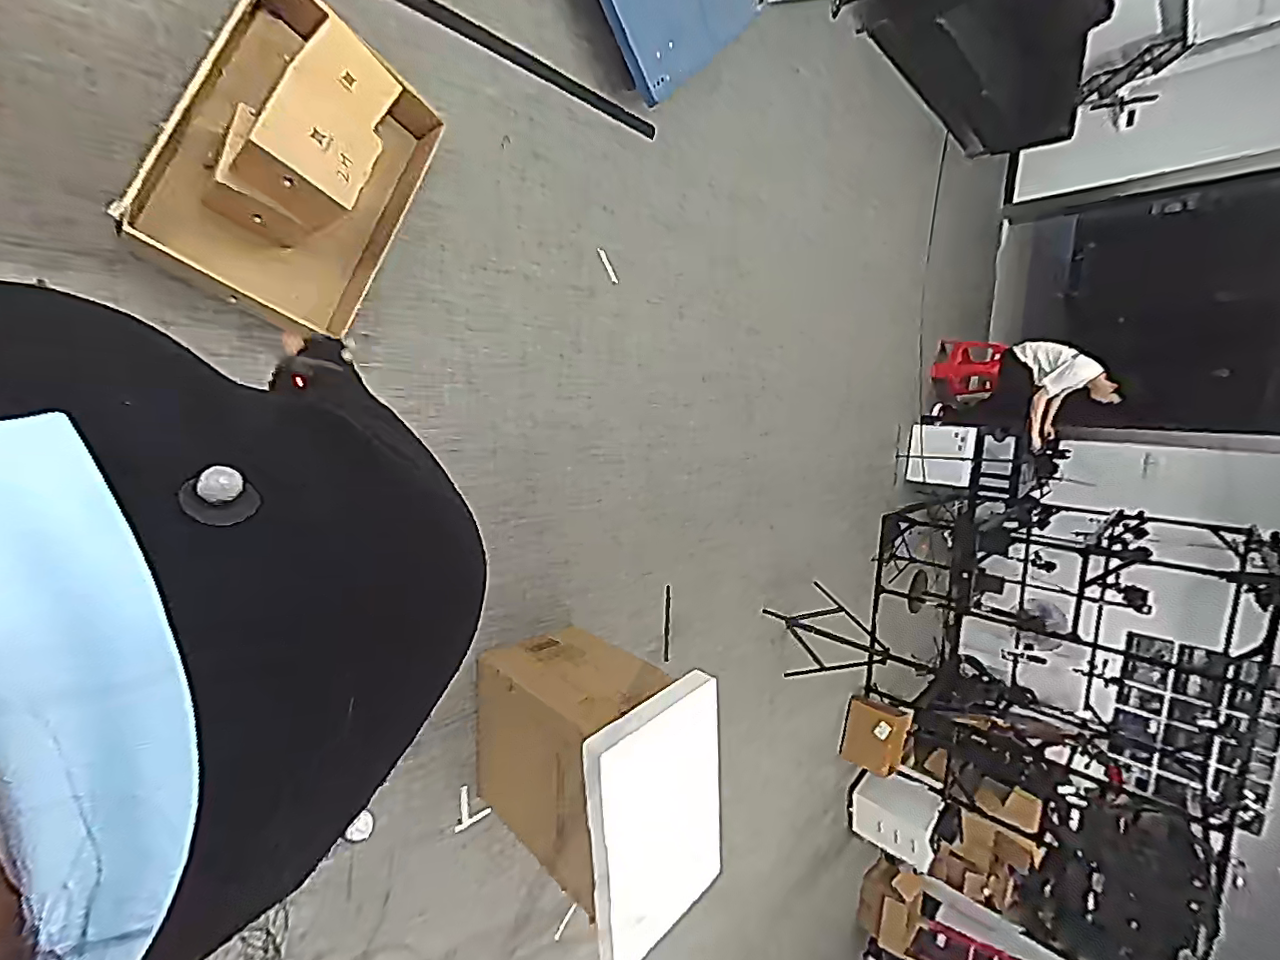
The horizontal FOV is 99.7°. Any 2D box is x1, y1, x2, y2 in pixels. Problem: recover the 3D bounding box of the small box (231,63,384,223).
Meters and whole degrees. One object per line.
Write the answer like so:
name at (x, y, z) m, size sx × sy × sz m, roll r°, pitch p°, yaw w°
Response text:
small box at (-0.630, -0.620, 1.023) m, size 0.179 × 0.176 × 0.168 m, roll 31°, pitch 72°, yaw -45°
